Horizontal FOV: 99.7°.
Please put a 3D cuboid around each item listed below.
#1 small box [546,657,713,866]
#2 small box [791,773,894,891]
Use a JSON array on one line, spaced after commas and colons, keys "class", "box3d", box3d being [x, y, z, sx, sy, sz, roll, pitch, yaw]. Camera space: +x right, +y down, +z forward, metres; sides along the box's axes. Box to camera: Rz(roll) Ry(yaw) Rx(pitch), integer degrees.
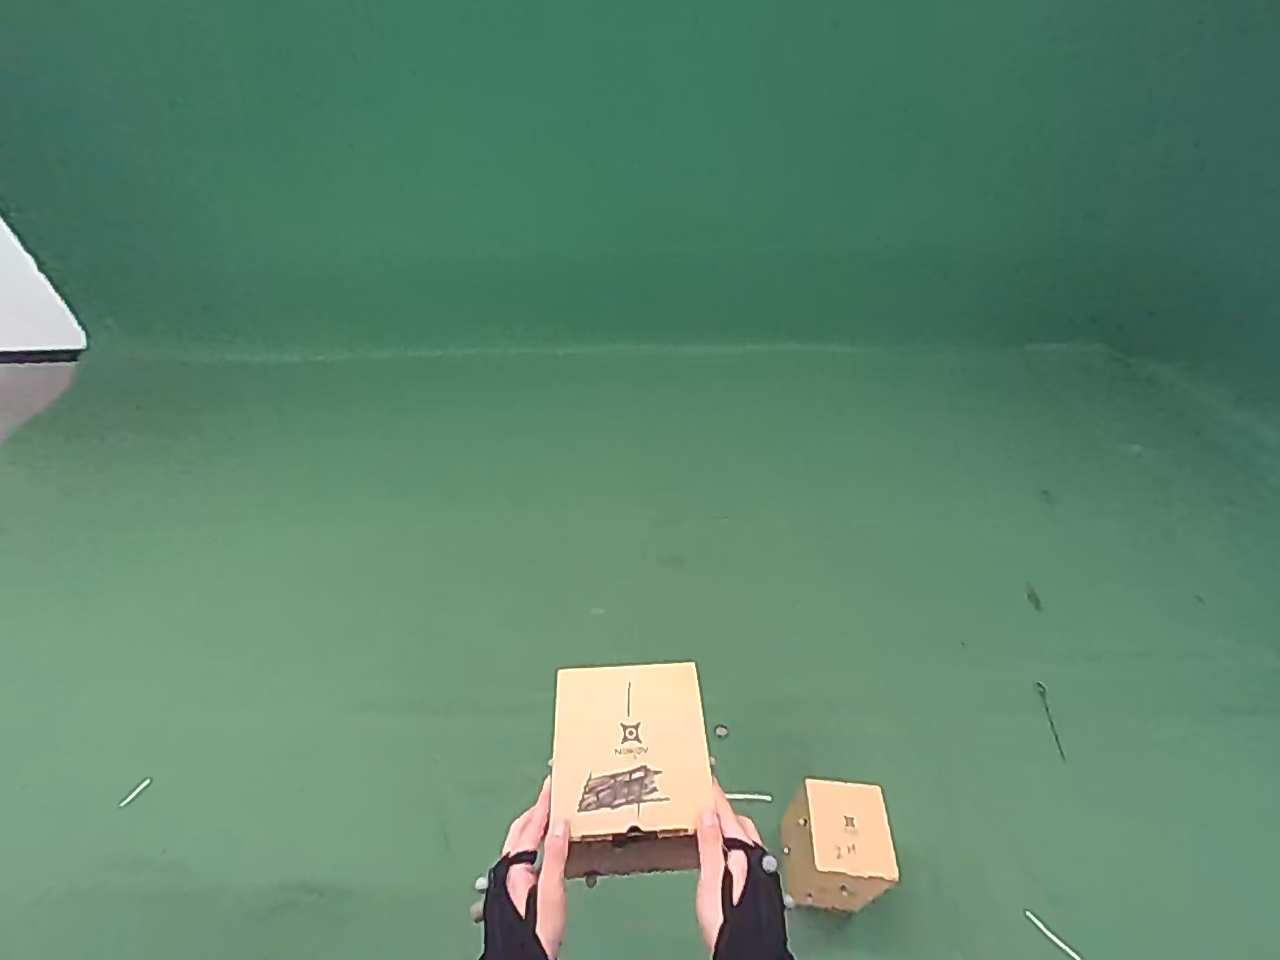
[{"class": "small box", "box3d": [-0.012, 0.331, 0.632, 0.168, 0.176, 0.179, -2, 43, -3]}, {"class": "small box", "box3d": [0.440, 0.785, 1.206, 0.168, 0.176, 0.179, 4, 44, 5]}]
